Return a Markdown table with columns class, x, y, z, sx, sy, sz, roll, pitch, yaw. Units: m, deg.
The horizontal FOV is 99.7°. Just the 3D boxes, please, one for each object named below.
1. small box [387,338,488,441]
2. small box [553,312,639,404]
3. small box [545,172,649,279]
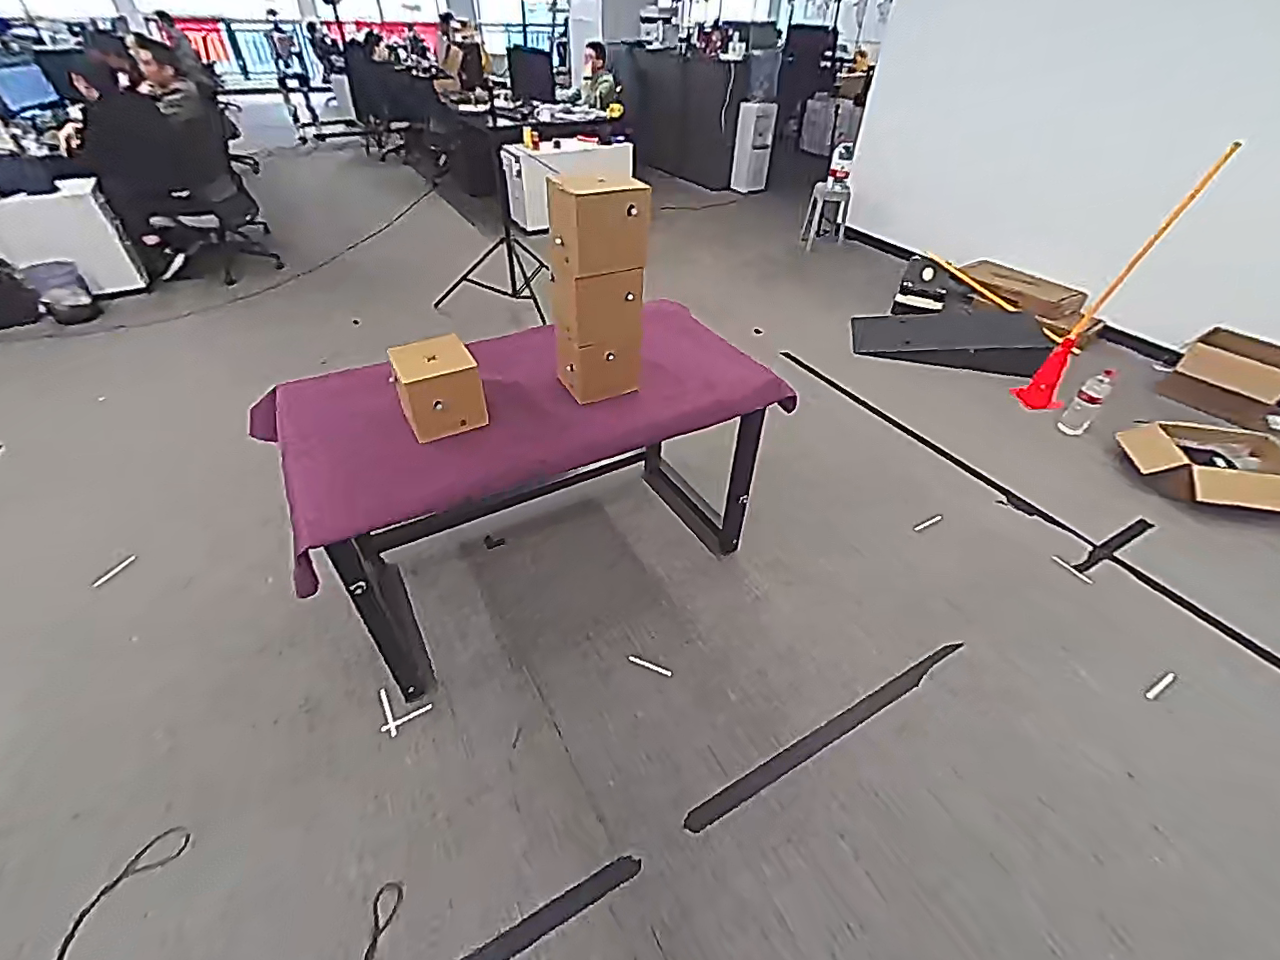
| class | x | y | z | sx | sy | sz | roll | pitch | yaw |
| --- | --- | --- | --- | --- | --- | --- | --- | --- | --- |
| small box | -0.478 | -0.210 | 1.287 | 0.168 | 0.176 | 0.179 | -21 | 46 | -24 |
| small box | -0.113 | -0.319 | 1.421 | 0.179 | 0.176 | 0.168 | -19 | 46 | -22 |
| small box | -0.097 | -0.567 | 1.205 | 0.179 | 0.176 | 0.168 | -20 | 45 | -22 |
